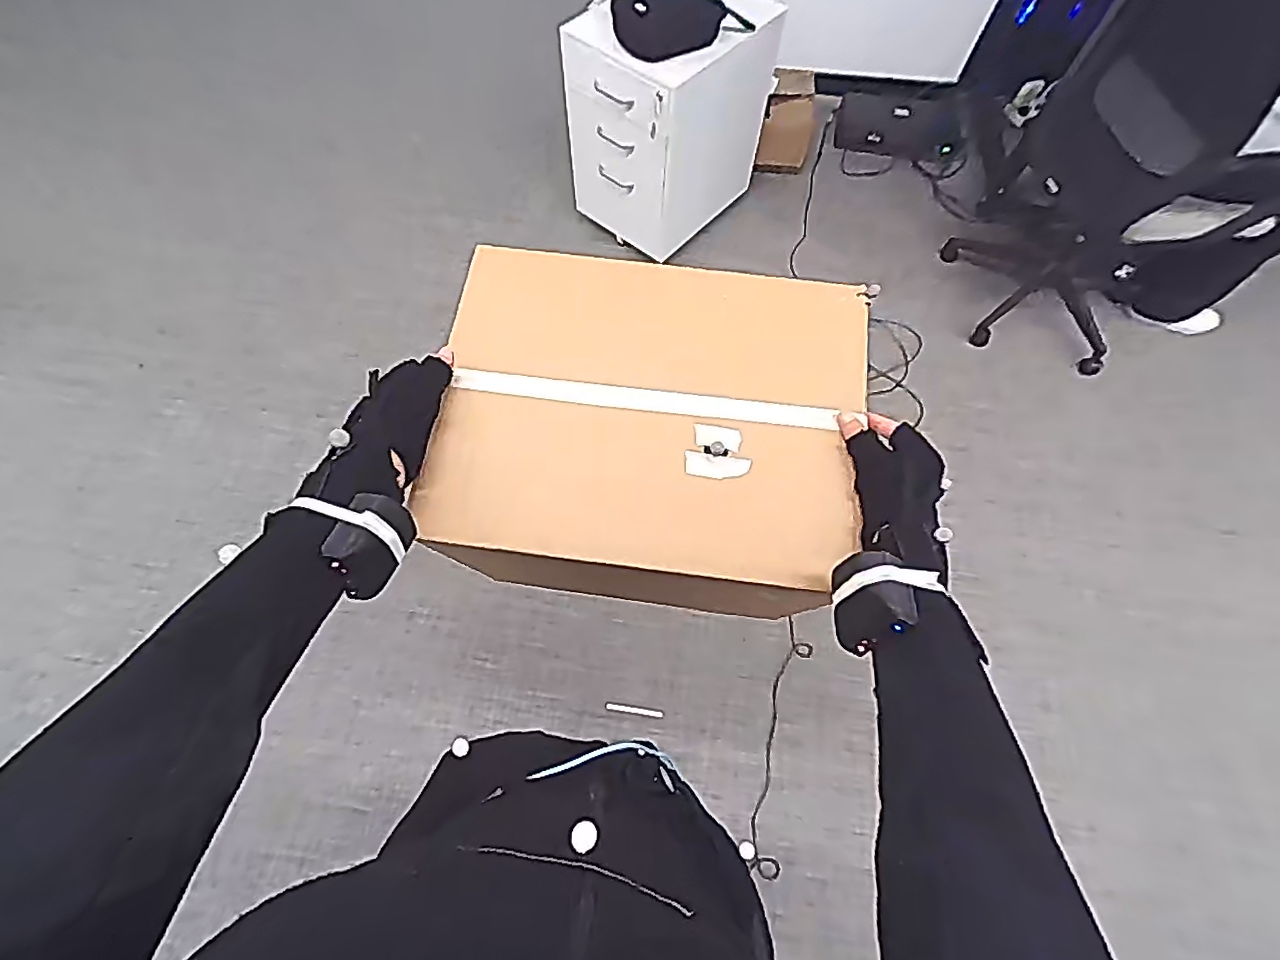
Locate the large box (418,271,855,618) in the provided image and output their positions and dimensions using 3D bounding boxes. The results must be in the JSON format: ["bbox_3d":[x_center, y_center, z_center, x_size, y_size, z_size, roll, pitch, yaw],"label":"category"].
[{"bbox_3d":[0.007,-0.016,0.671,0.408,0.320,0.320,7,72,2],"label":"large box"}]
